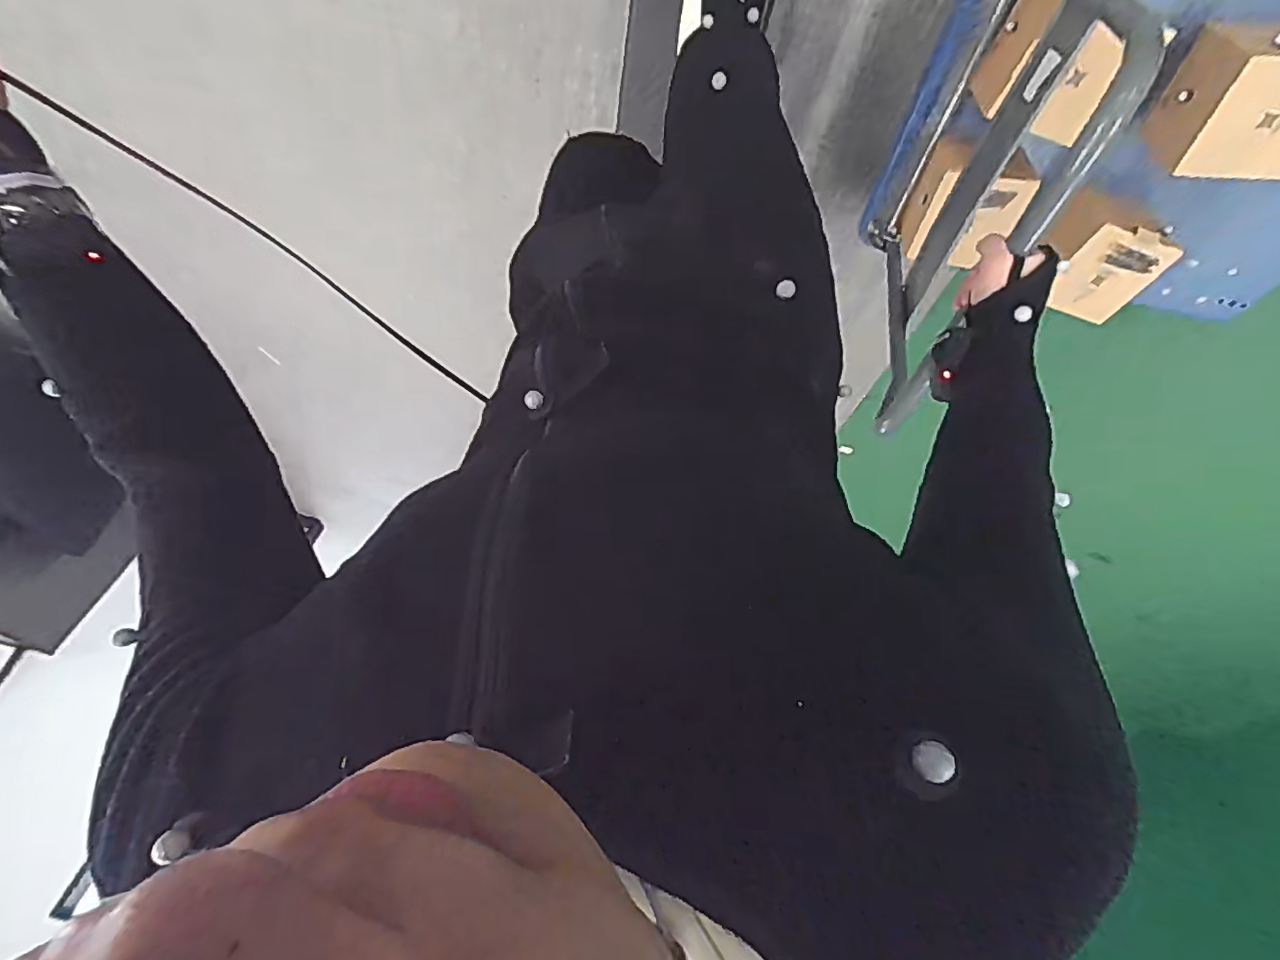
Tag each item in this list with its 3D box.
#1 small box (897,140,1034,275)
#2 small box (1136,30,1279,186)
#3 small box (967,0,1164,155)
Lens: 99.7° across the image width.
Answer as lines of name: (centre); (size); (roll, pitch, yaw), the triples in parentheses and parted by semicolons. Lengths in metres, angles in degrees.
small box: (0.628, -0.542, 1.073); (0.168, 0.176, 0.179); (12, 144, 5)
small box: (0.972, -0.604, 0.879); (0.179, 0.176, 0.168); (8, 143, 9)
small box: (0.676, -0.678, 0.885); (0.179, 0.176, 0.168); (18, 144, -3)
